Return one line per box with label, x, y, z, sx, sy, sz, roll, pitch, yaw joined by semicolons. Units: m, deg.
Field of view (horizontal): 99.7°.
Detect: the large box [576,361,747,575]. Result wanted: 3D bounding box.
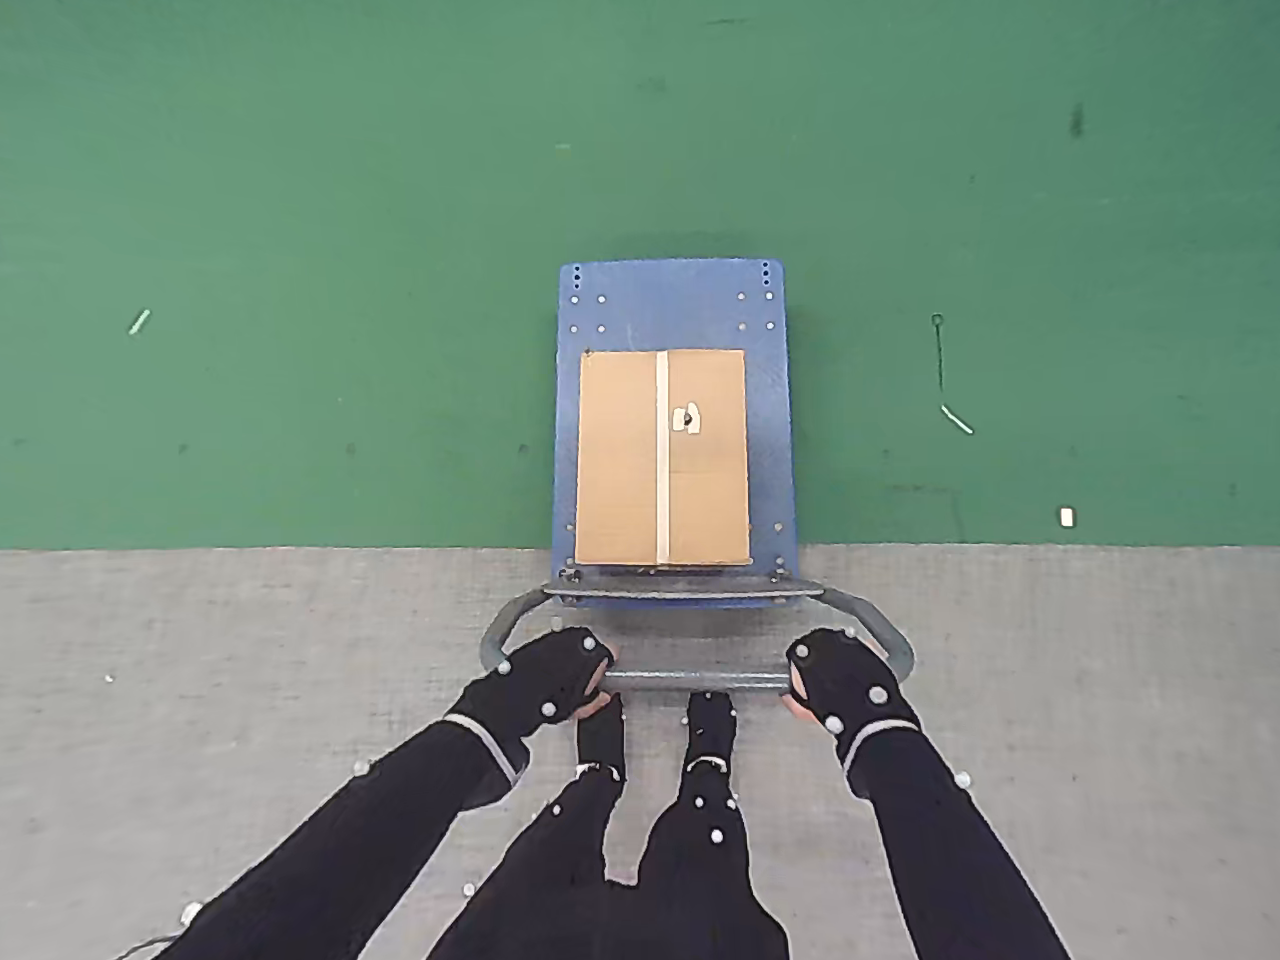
large box;0.044;-0.004;1.152;0.320;0.320;0.408;0;79;2
